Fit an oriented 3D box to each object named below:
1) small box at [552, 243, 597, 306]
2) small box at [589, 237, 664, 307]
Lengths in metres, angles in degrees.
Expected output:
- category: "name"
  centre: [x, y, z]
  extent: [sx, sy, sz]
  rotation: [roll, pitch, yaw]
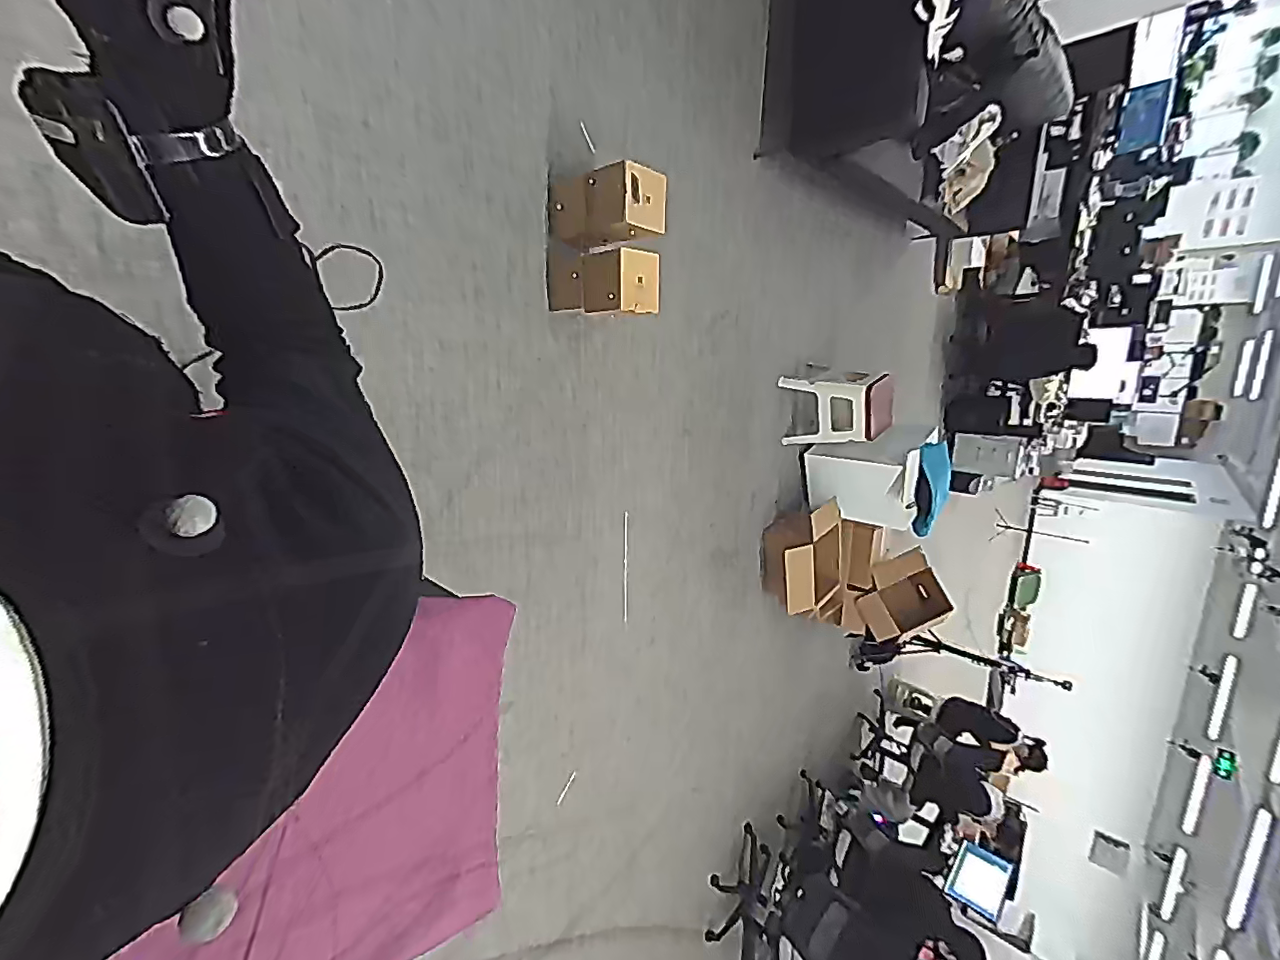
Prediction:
- category: "small box"
  centre: [-0.165, -0.661, 1.758]
  extent: [0.179, 0.176, 0.168]
  rotation: [-12, 108, -45]
- category: "small box"
  centre: [-0.045, -0.628, 1.652]
  extent: [0.168, 0.176, 0.179]
  rotation: [-13, 110, -44]
